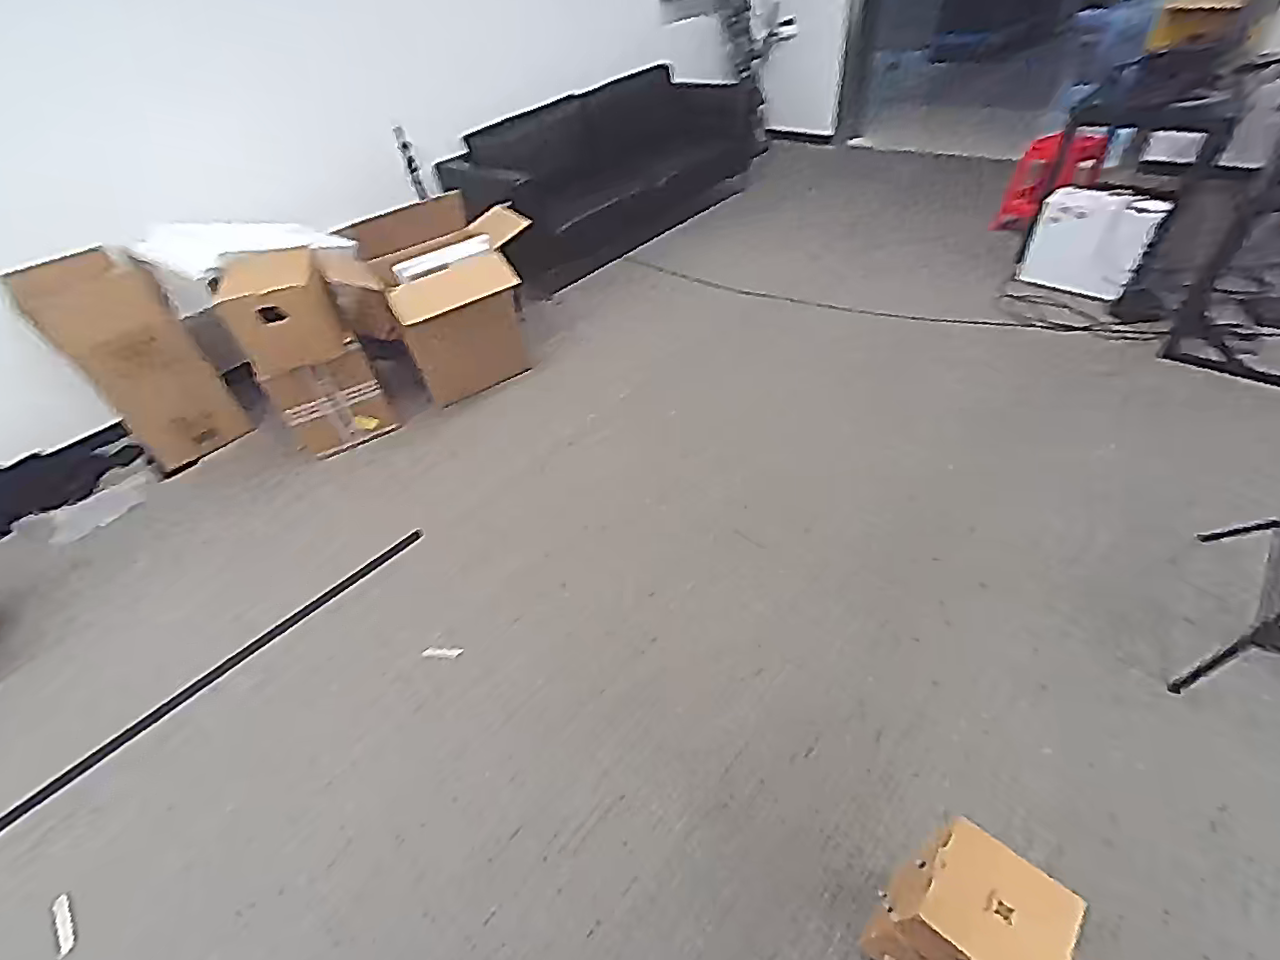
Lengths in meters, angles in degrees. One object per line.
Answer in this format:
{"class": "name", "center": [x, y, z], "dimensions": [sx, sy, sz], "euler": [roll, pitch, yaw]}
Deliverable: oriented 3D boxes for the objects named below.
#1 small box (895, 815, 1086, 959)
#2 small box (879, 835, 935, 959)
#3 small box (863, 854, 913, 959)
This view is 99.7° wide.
{"class": "small box", "center": [0.523, 0.663, 0.827], "dimensions": [0.179, 0.176, 0.168], "euler": [29, 57, 32]}
{"class": "small box", "center": [0.538, 0.775, 0.942], "dimensions": [0.168, 0.176, 0.179], "euler": [29, 56, 32]}
{"class": "small box", "center": [0.556, 0.888, 1.057], "dimensions": [0.168, 0.176, 0.179], "euler": [29, 56, 33]}
